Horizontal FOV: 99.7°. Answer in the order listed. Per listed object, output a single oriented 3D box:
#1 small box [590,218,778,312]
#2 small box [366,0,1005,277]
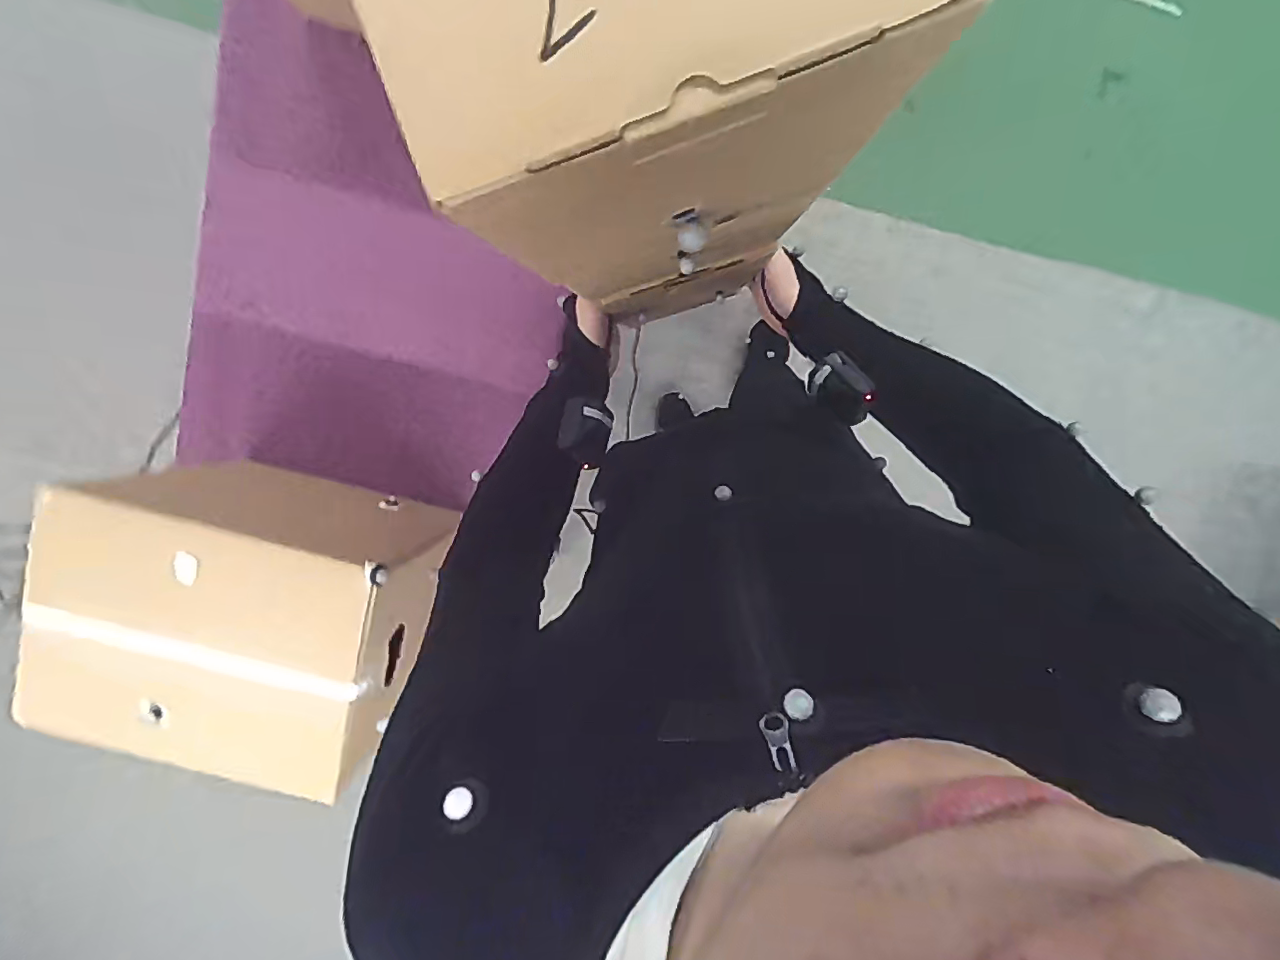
[{"bbox_3d":[0.025,-0.272,0.531,0.168,0.176,0.179,-14,101,6],"label":"small box"},{"bbox_3d":[-0.001,-0.200,0.211,0.168,0.176,0.179,-15,101,7],"label":"small box"}]
